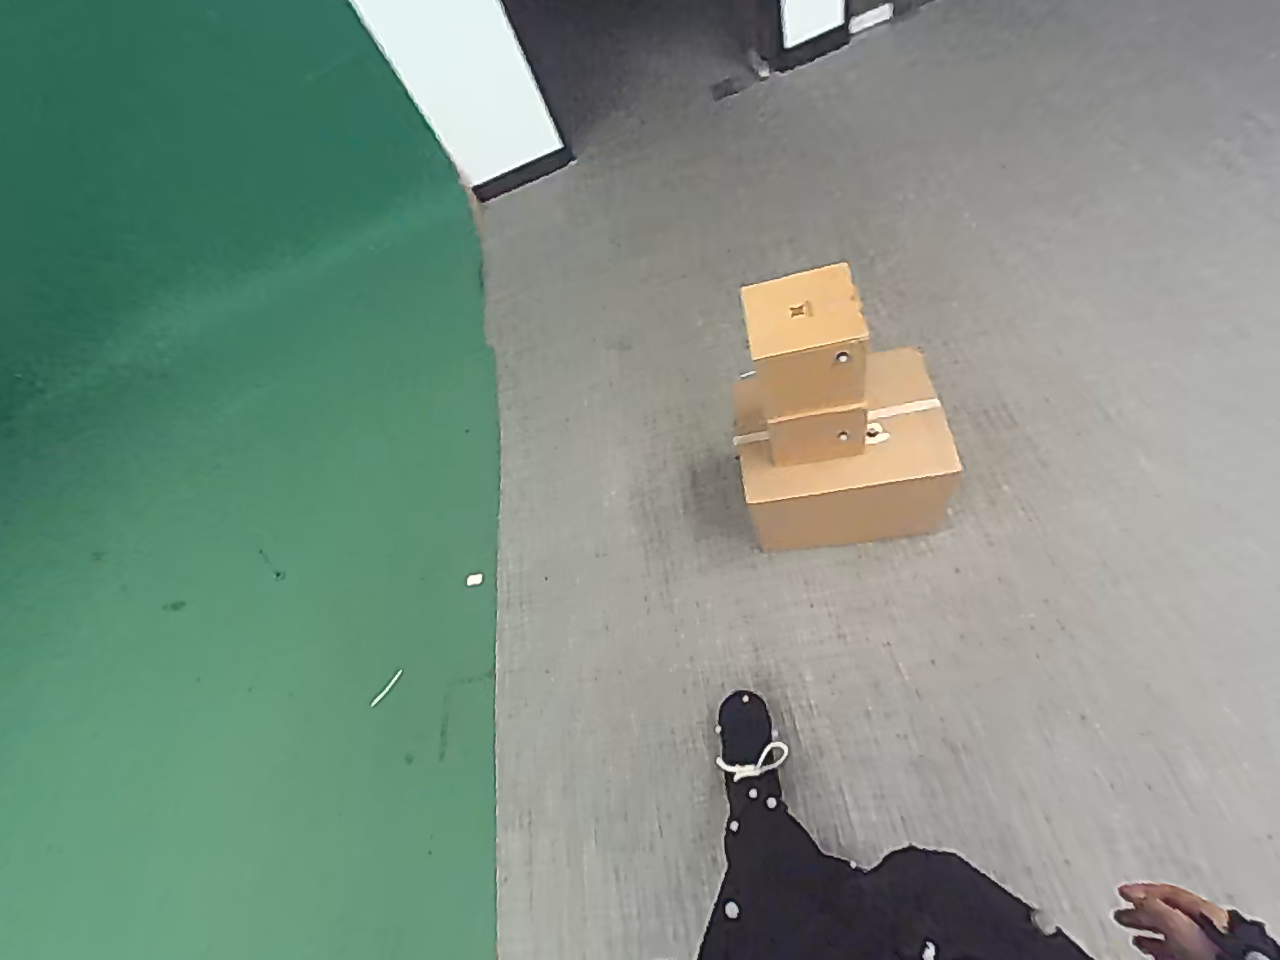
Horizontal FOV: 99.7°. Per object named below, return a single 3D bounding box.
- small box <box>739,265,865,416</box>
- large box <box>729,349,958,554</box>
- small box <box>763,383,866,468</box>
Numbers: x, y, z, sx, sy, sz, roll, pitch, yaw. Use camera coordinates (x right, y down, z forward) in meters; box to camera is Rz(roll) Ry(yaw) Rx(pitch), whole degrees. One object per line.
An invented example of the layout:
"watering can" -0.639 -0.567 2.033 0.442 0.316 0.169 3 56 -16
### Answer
"small box" 0.276 -0.228 0.928 0.179 0.176 0.168 -10 59 14
"large box" 0.441 -0.046 1.252 0.408 0.320 0.320 -10 61 13
"small box" 0.331 -0.142 1.055 0.179 0.176 0.168 -10 59 16
